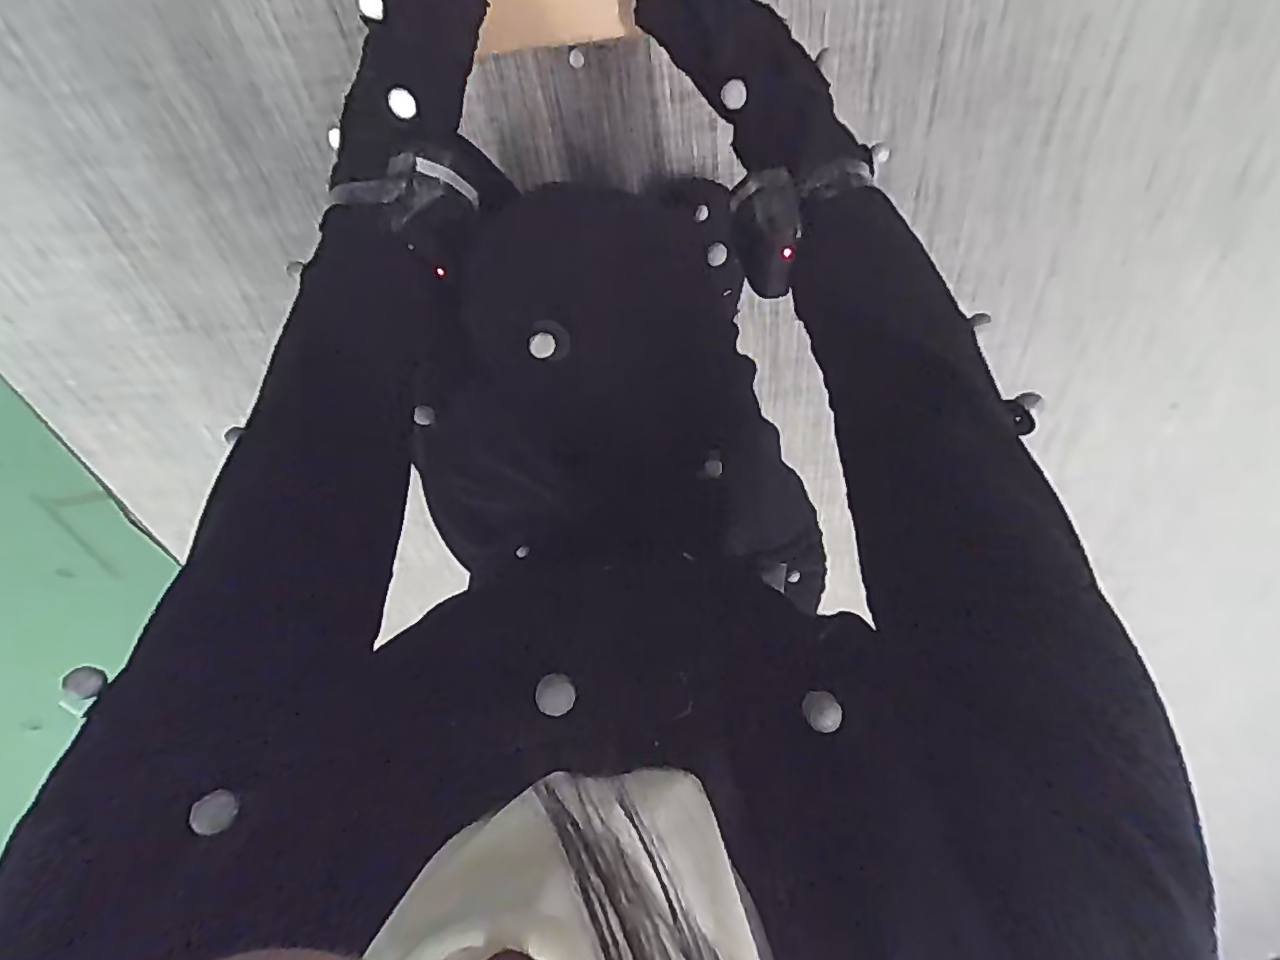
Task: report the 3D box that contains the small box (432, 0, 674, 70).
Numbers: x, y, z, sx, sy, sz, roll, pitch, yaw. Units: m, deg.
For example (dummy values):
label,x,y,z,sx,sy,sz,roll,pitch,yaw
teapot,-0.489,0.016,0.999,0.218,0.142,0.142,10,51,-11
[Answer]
label,x,y,z,sx,sy,sz,roll,pitch,yaw
small box,-0.069,-0.436,0.423,0.179,0.176,0.168,-4,128,4
